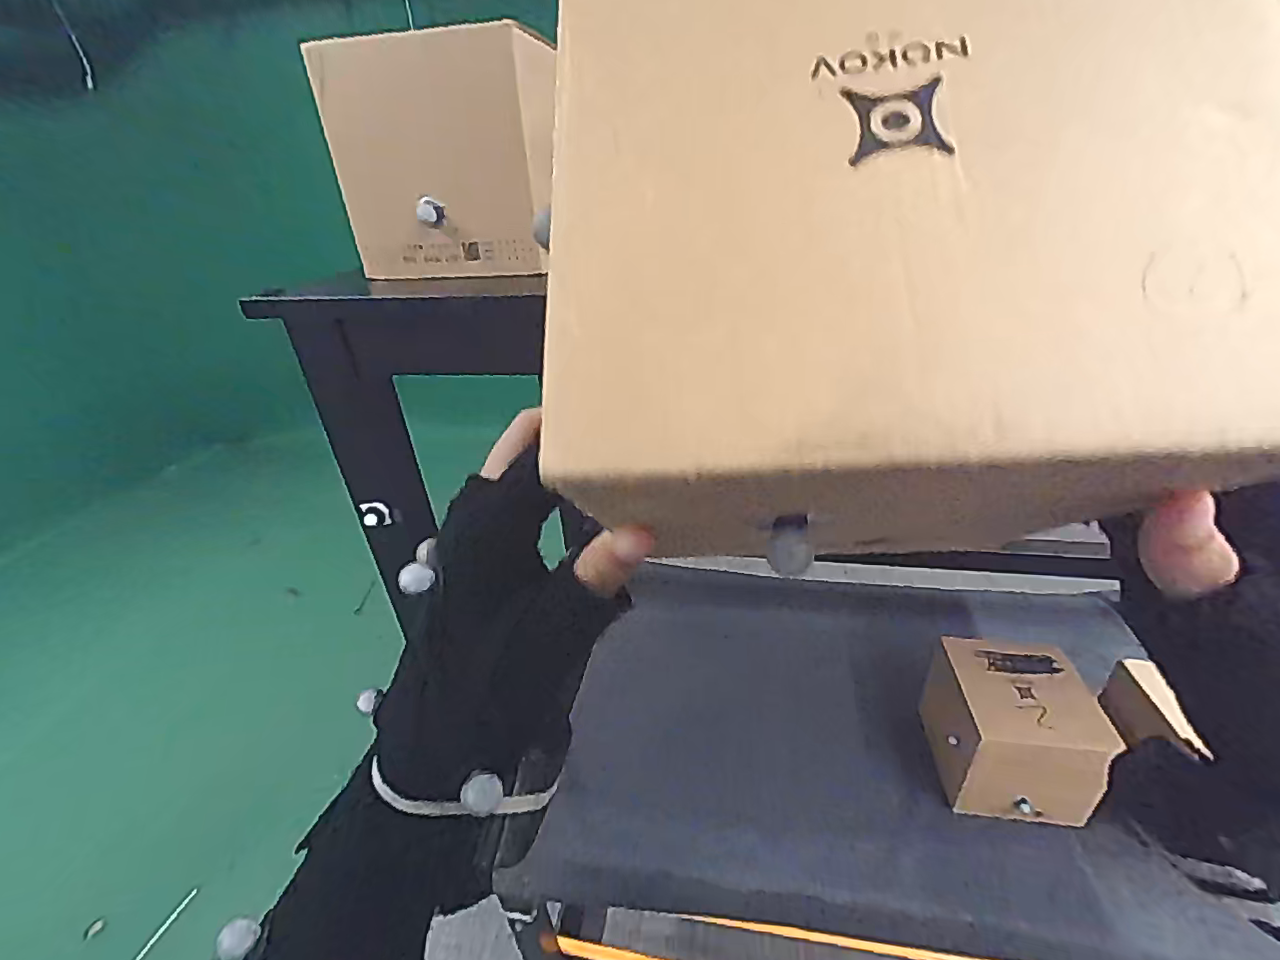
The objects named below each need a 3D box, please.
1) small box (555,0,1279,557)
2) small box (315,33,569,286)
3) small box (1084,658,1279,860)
[{"bbox_3d":[0.073,-0.064,0.206,0.168,0.179,0.176,-3,-15,8],"label":"small box"},{"bbox_3d":[-0.145,-0.282,0.496,0.168,0.176,0.179,2,31,9],"label":"small box"},{"bbox_3d":[0.750,0.367,0.722,0.168,0.176,0.179,2,29,9],"label":"small box"}]
